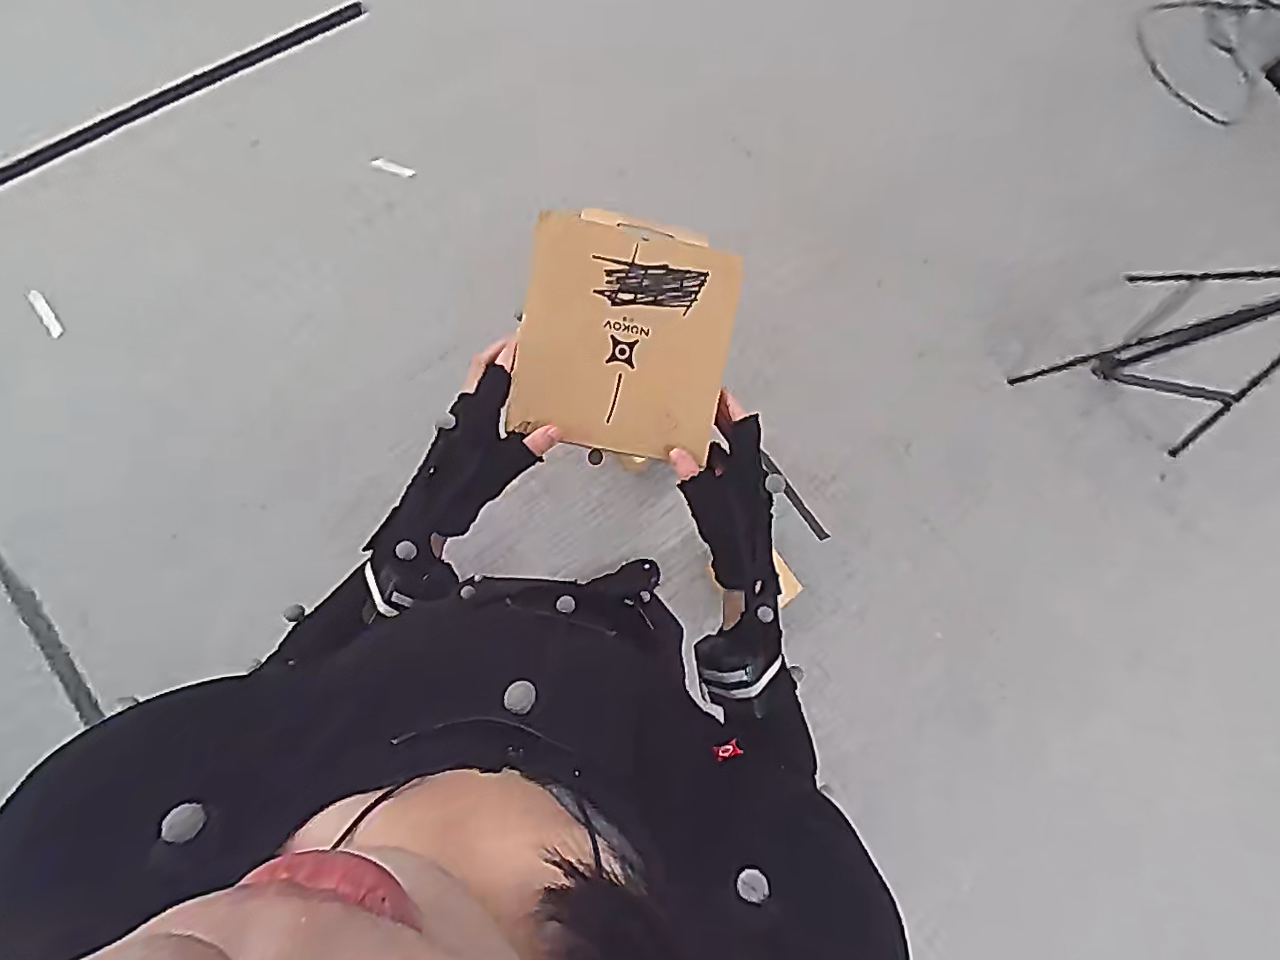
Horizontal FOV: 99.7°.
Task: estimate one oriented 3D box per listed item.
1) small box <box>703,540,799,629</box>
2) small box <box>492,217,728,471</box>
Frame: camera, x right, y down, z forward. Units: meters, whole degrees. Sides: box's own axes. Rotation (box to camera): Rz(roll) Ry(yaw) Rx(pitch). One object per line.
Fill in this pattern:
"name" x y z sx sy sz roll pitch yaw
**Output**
"small box" 0.296 0.282 1.483 0.168 0.176 0.179 -36 88 -8
"small box" -0.030 -0.110 0.507 0.168 0.176 0.179 10 93 -6
